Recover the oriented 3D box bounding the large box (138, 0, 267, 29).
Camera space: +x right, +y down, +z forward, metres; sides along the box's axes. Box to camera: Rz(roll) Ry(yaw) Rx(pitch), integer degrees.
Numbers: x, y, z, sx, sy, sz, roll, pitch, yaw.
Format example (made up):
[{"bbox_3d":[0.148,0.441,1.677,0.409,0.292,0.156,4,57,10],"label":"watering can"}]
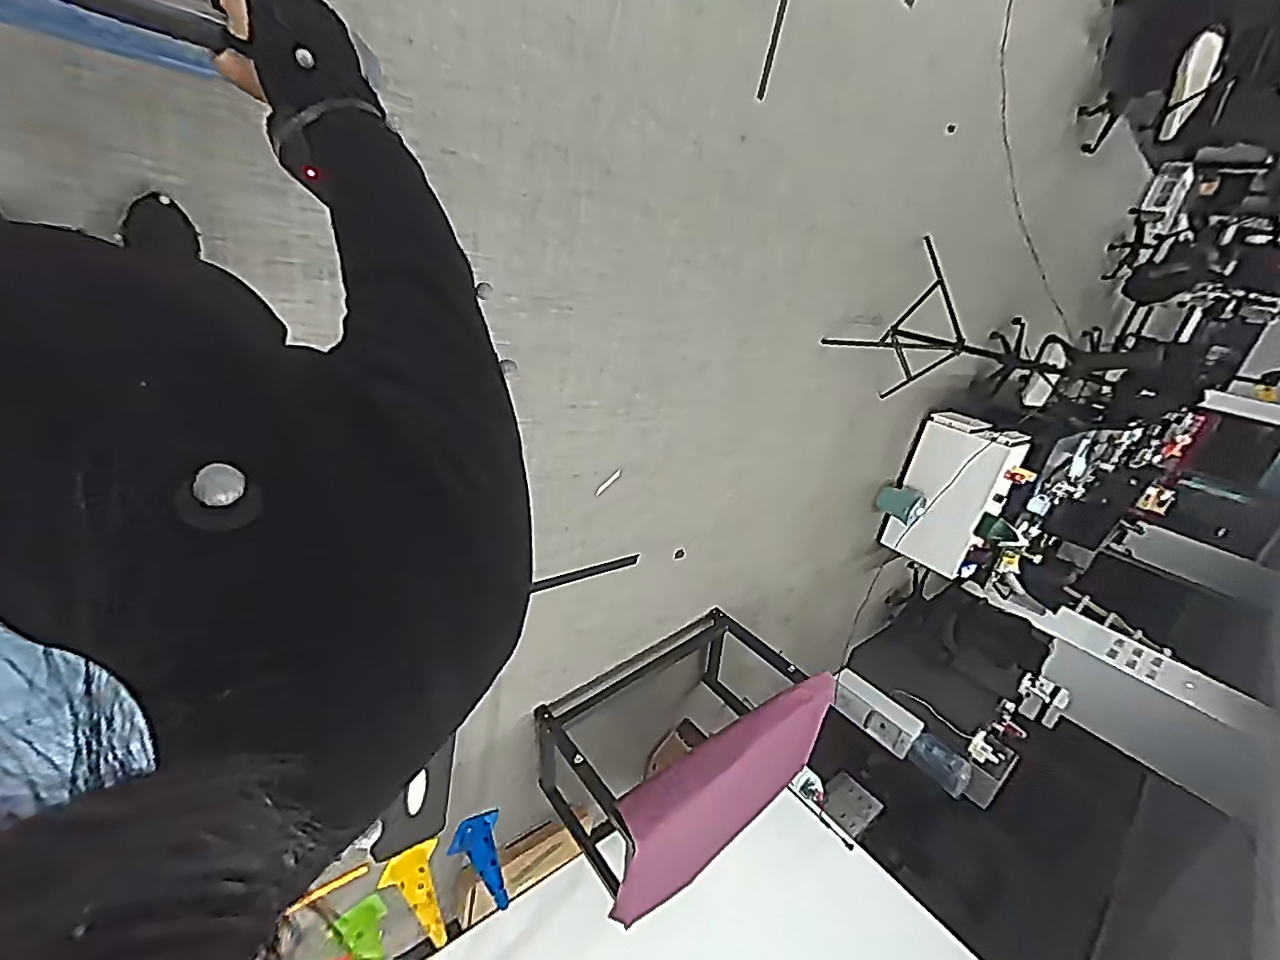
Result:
[{"bbox_3d":[-0.706,-0.799,0.622,0.408,0.320,0.320,-9,122,-41],"label":"large box"}]
